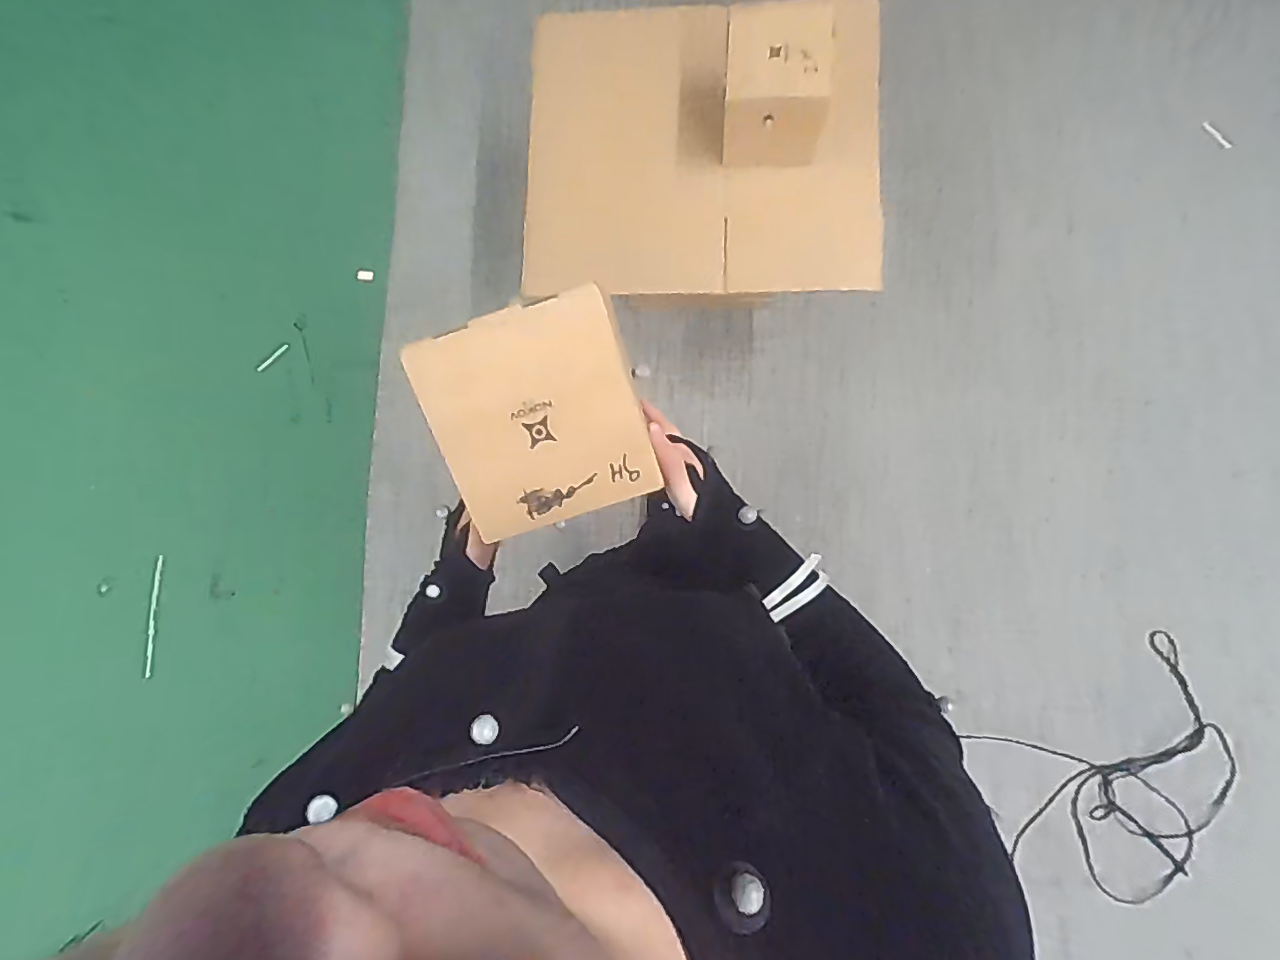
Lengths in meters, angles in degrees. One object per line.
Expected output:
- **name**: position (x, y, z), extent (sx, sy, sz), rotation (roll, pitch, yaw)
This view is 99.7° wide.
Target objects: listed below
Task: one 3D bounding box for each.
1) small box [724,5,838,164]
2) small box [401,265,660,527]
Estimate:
- **small box**: position (0.246, -0.701, 0.976), extent (0.179, 0.176, 0.168), rotation (4, 86, 7)
- **small box**: position (-0.086, -0.081, 0.511), extent (0.168, 0.176, 0.179), rotation (-17, 105, 5)
